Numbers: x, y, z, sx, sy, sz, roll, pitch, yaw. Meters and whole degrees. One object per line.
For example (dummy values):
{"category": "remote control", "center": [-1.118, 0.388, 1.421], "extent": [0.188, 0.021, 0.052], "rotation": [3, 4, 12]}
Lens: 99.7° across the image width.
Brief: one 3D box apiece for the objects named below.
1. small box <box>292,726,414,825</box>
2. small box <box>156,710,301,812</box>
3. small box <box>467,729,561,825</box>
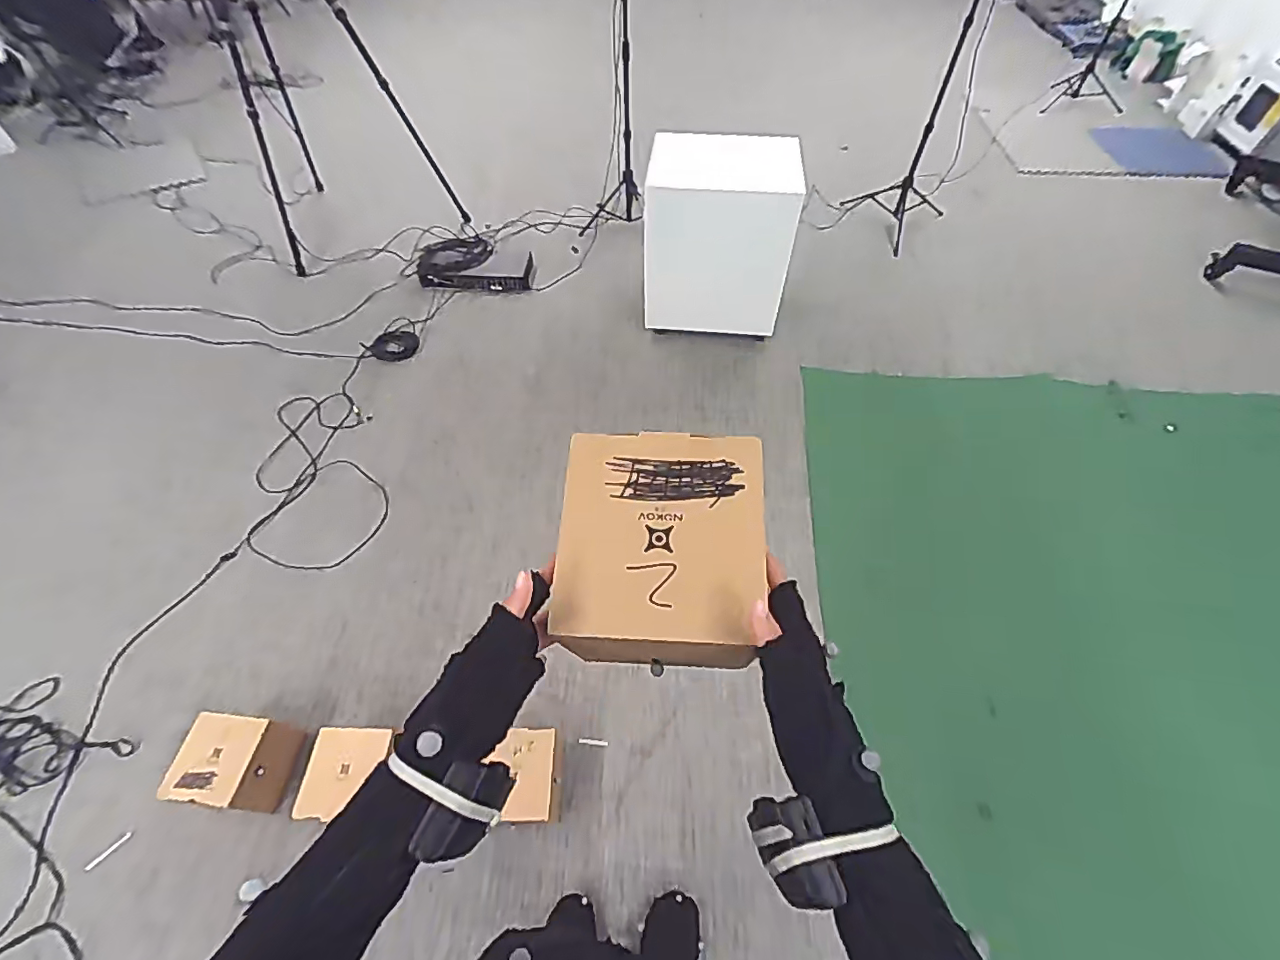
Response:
{"category": "small box", "center": [-0.633, 0.669, 1.221], "extent": [0.168, 0.176, 0.179], "rotation": [1, 55, 1]}
{"category": "small box", "center": [-0.922, 0.646, 1.235], "extent": [0.168, 0.176, 0.179], "rotation": [5, 54, 4]}
{"category": "small box", "center": [-0.273, 0.671, 1.217], "extent": [0.168, 0.176, 0.179], "rotation": [0, 55, -1]}
